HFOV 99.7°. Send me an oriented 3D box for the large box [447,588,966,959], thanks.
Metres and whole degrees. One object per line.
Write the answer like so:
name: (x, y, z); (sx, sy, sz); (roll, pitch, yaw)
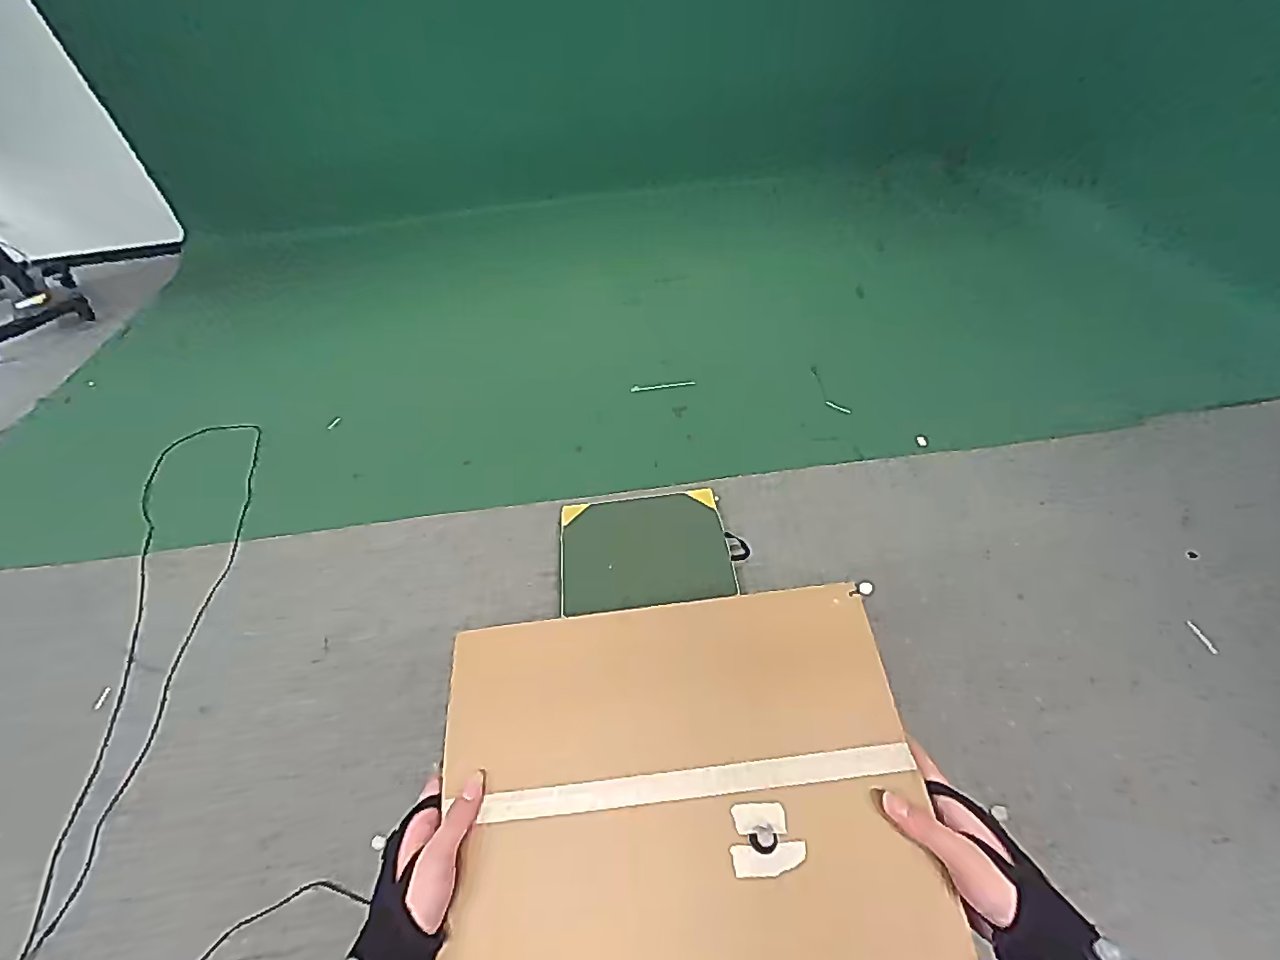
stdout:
large box: (0.043, 0.345, 0.604); (0.408, 0.320, 0.320); (-8, 59, 1)
